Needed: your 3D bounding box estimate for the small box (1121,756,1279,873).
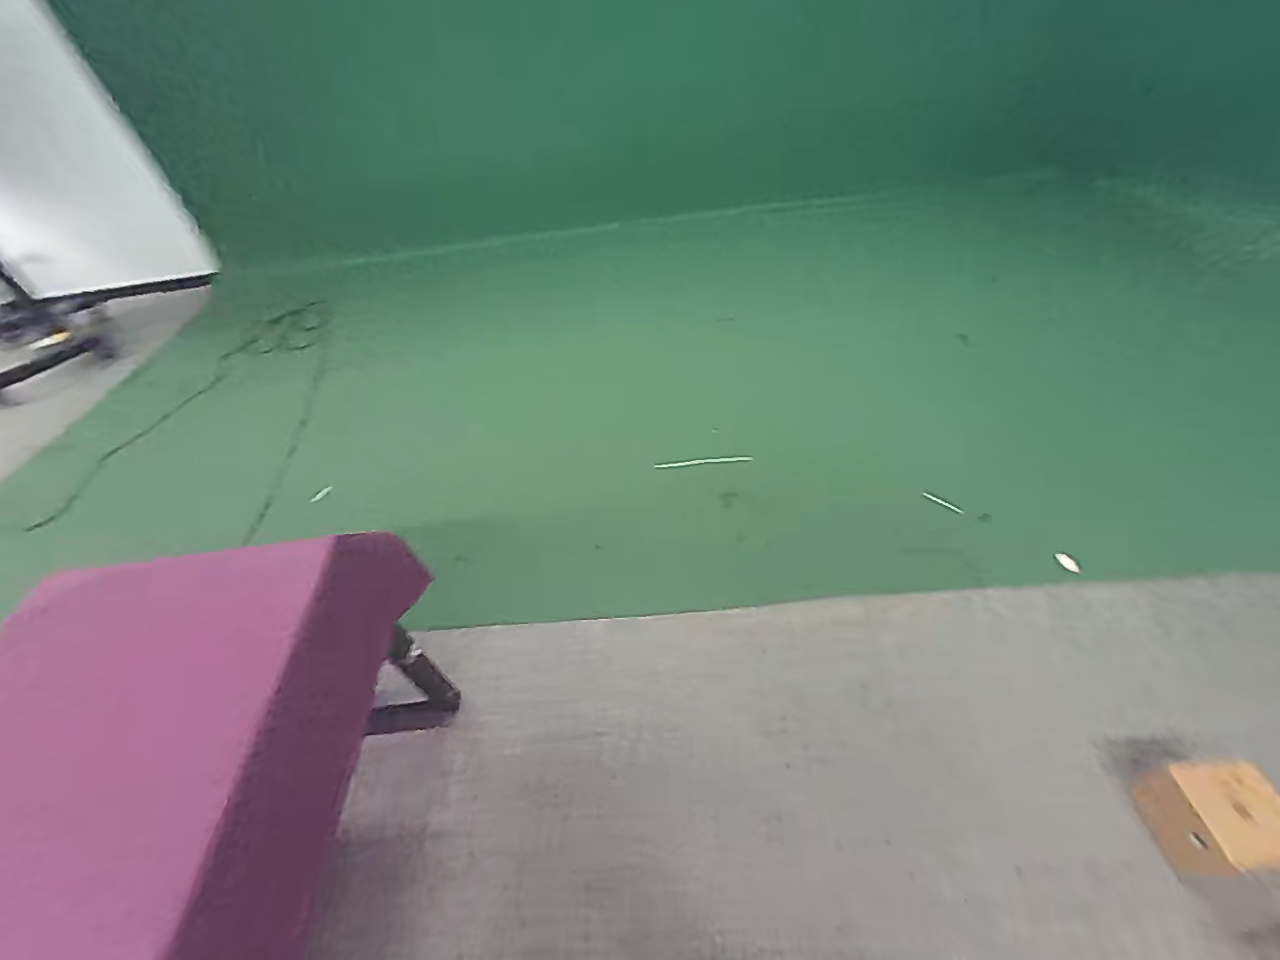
[{"bbox_3d":[1.158,0.688,1.106,0.168,0.176,0.179,-6,46,3],"label":"small box"}]
